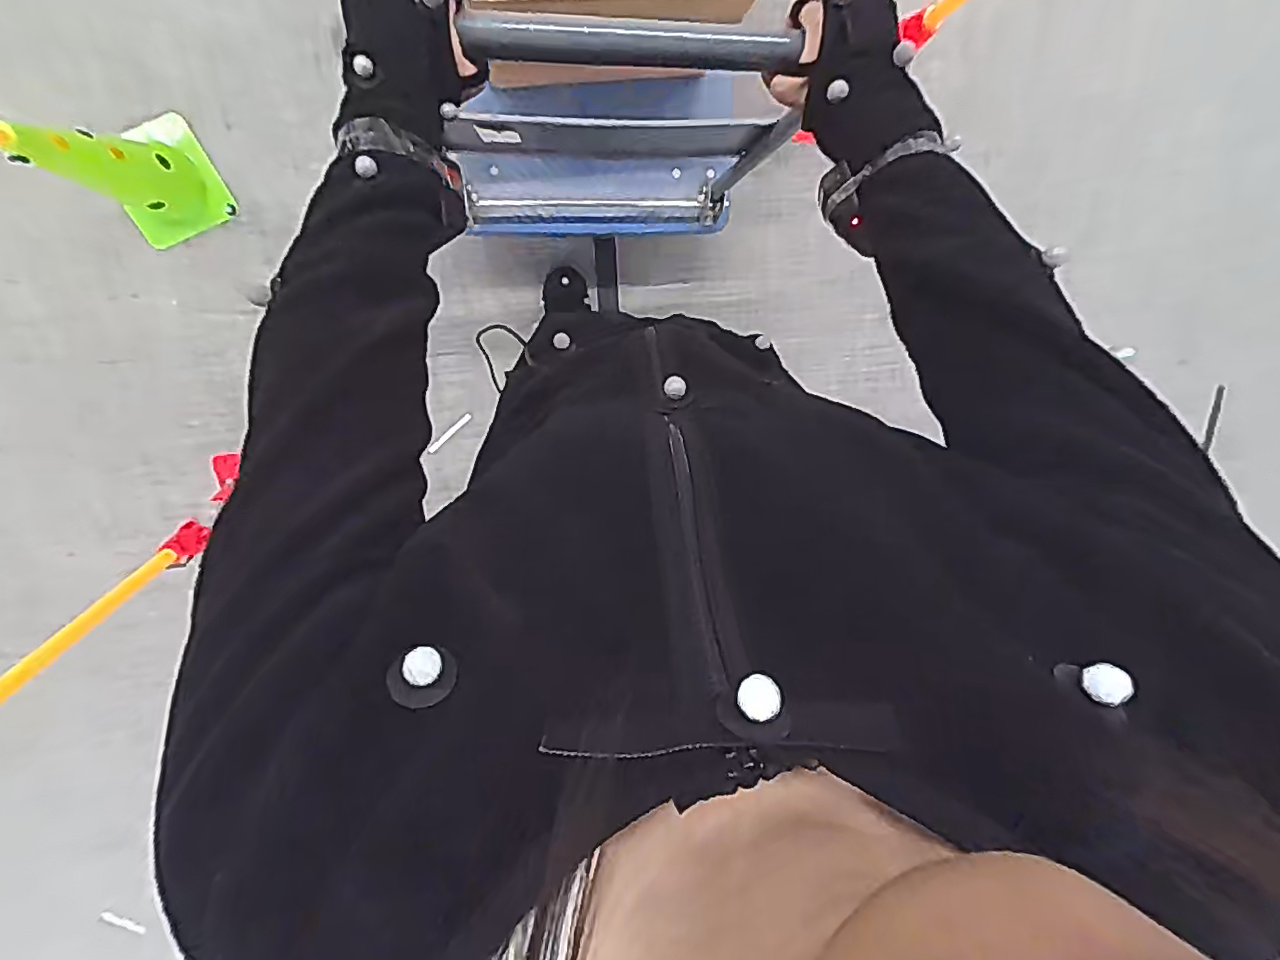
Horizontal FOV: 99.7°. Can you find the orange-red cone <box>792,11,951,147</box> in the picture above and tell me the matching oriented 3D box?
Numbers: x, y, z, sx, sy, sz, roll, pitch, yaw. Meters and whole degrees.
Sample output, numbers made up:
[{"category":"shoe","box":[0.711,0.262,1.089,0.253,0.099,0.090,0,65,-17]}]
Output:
[{"category":"orange-red cone","box":[0.474,-0.815,1.059,0.199,0.360,0.198,0,109,-10]}]
